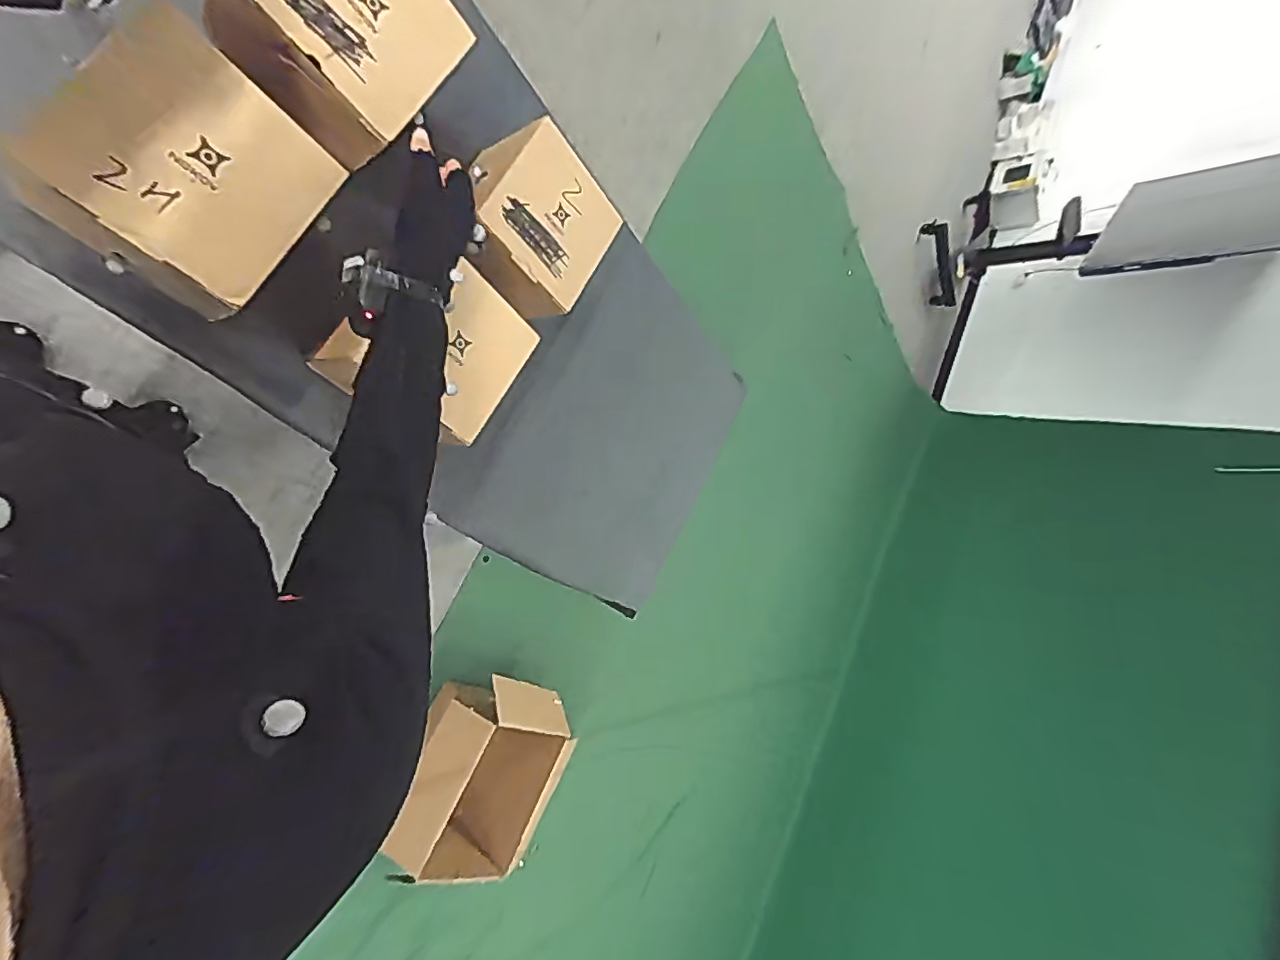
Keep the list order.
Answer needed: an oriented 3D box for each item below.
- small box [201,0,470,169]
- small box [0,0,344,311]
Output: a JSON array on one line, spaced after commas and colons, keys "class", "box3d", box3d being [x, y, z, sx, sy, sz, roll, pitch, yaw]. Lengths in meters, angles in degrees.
[{"class": "small box", "box3d": [-0.325, -0.469, 0.577, 0.168, 0.176, 0.179, 43, 67, -42]}, {"class": "small box", "box3d": [-0.427, -0.282, 0.508, 0.168, 0.176, 0.179, 41, 70, -42]}]
